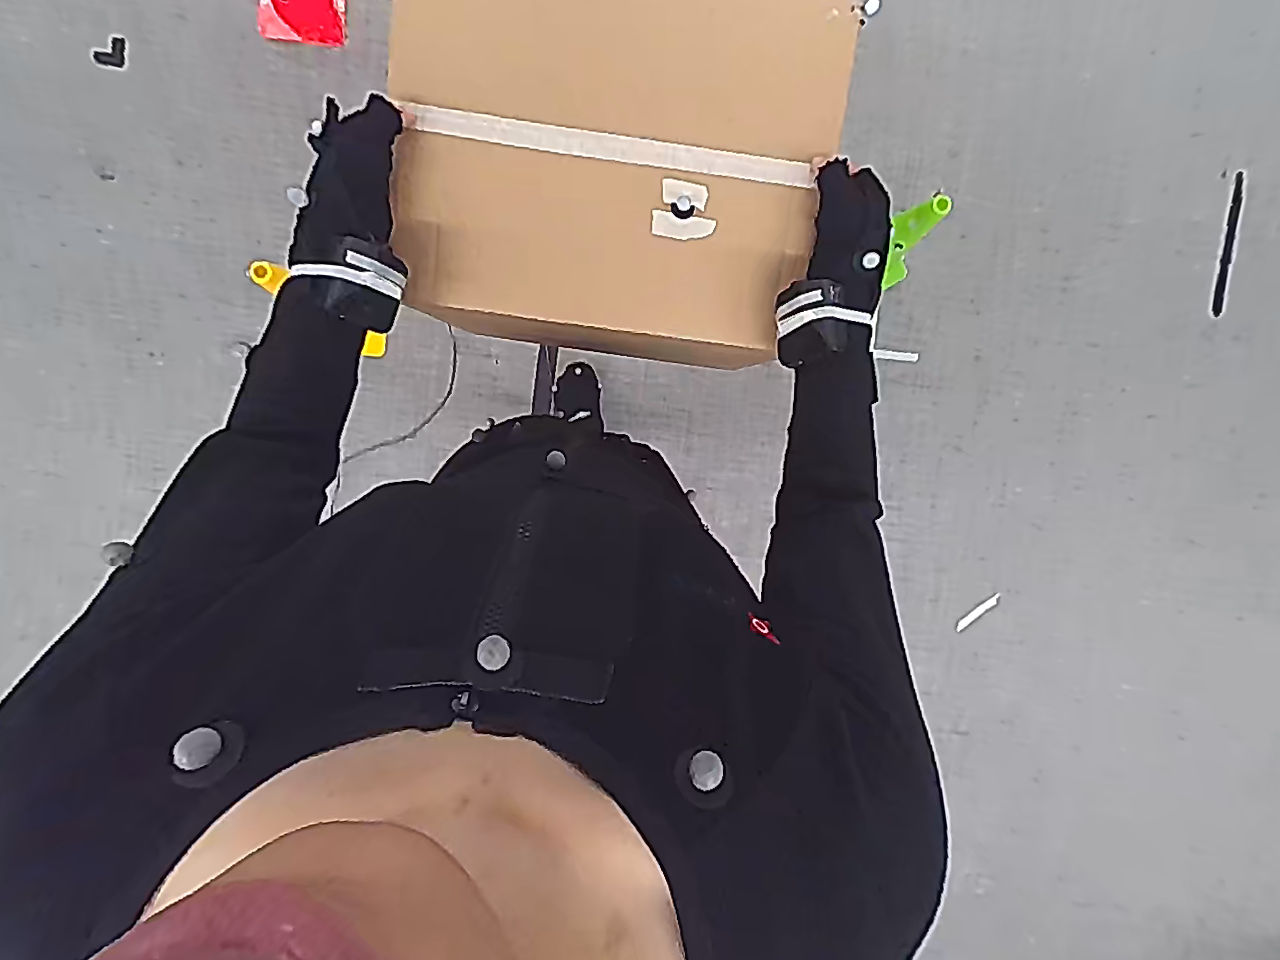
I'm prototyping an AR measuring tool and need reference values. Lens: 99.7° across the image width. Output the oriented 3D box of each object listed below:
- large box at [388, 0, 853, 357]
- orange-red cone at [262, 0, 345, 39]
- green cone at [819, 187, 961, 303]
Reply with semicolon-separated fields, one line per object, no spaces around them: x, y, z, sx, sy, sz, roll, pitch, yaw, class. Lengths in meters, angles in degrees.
-0.030;-0.333;0.637;0.408;0.320;0.320;7;99;-4;large box
-0.805;-1.161;1.137;0.198;0.360;0.199;5;96;-3;orange-red cone
0.613;-0.584;1.272;0.202;0.368;0.200;-31;97;-2;green cone
